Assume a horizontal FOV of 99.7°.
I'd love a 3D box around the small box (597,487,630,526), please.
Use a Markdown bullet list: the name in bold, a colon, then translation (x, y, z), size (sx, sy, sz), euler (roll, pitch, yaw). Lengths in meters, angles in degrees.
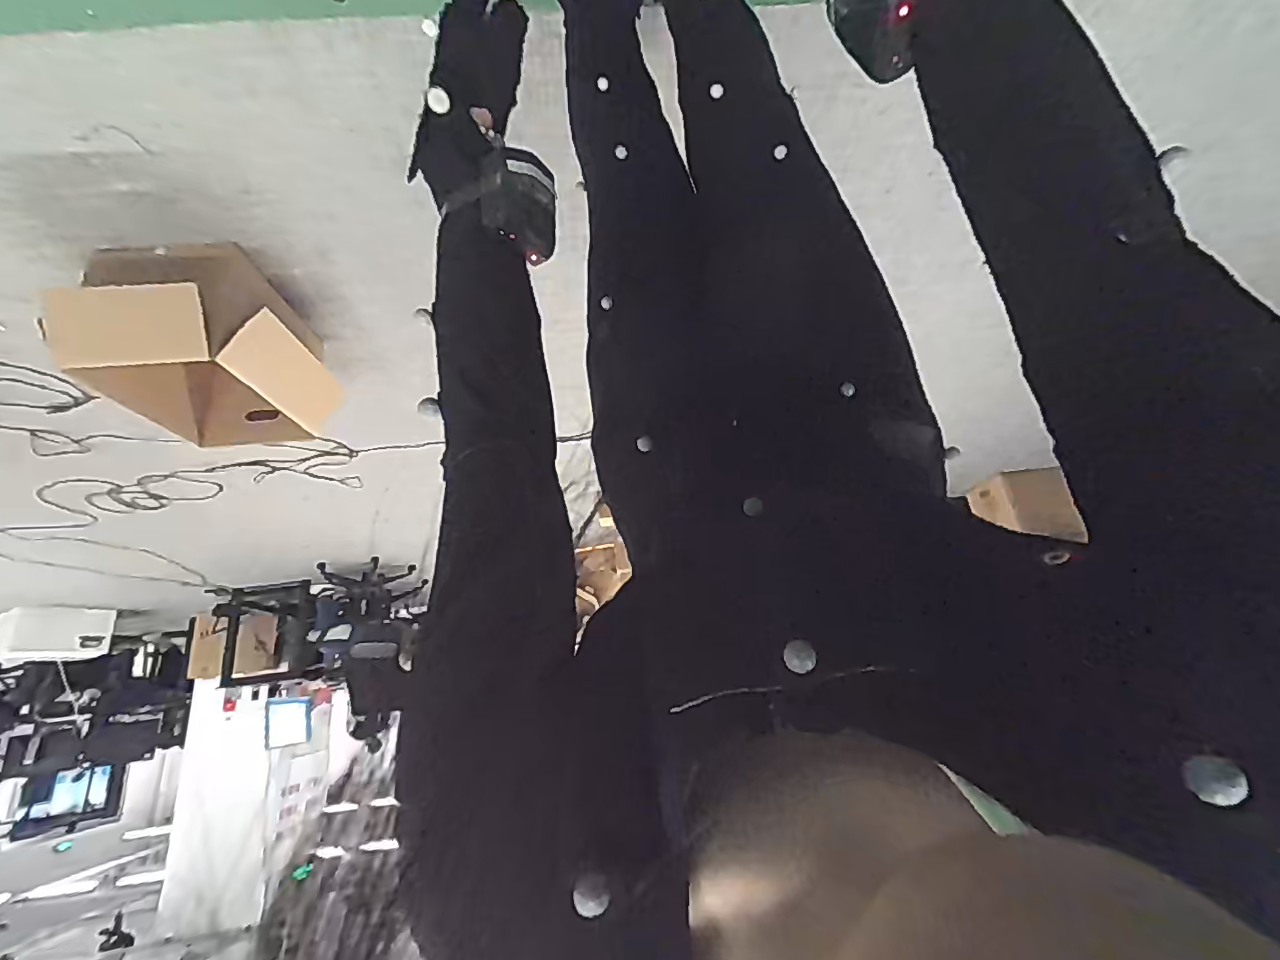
- **small box**: translation (-0.155, 0.153, 3.098), size (0.179, 0.176, 0.168), euler (-7, 159, -3)
